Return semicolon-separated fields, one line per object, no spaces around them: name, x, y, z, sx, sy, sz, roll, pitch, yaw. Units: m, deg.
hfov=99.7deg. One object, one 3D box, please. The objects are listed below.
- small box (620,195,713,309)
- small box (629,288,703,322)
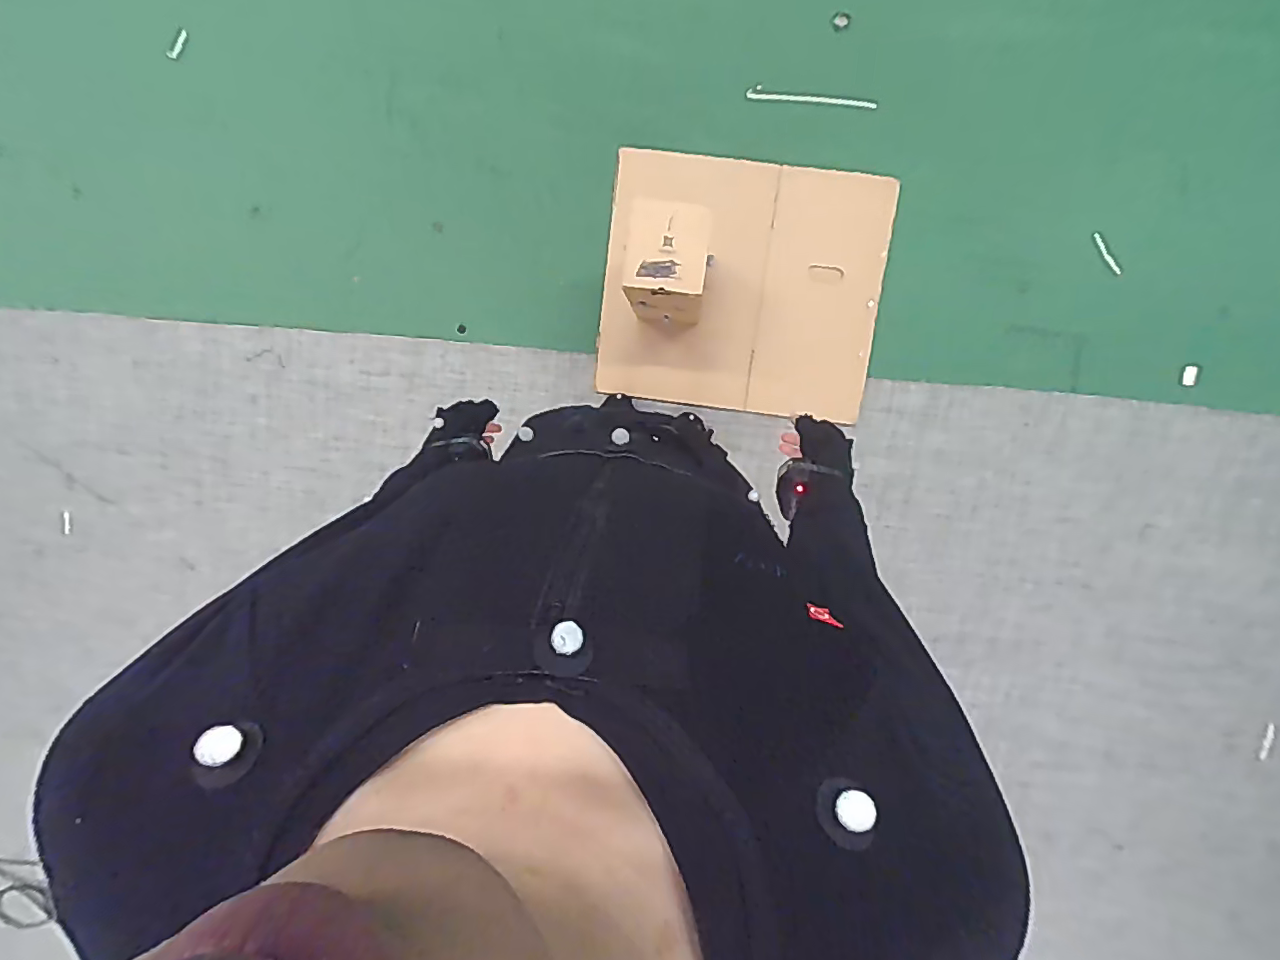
small box;0.057;-0.468;1.135;0.168;0.176;0.179;8;97;3
small box;0.070;-0.489;1.298;0.168;0.176;0.179;6;99;4
